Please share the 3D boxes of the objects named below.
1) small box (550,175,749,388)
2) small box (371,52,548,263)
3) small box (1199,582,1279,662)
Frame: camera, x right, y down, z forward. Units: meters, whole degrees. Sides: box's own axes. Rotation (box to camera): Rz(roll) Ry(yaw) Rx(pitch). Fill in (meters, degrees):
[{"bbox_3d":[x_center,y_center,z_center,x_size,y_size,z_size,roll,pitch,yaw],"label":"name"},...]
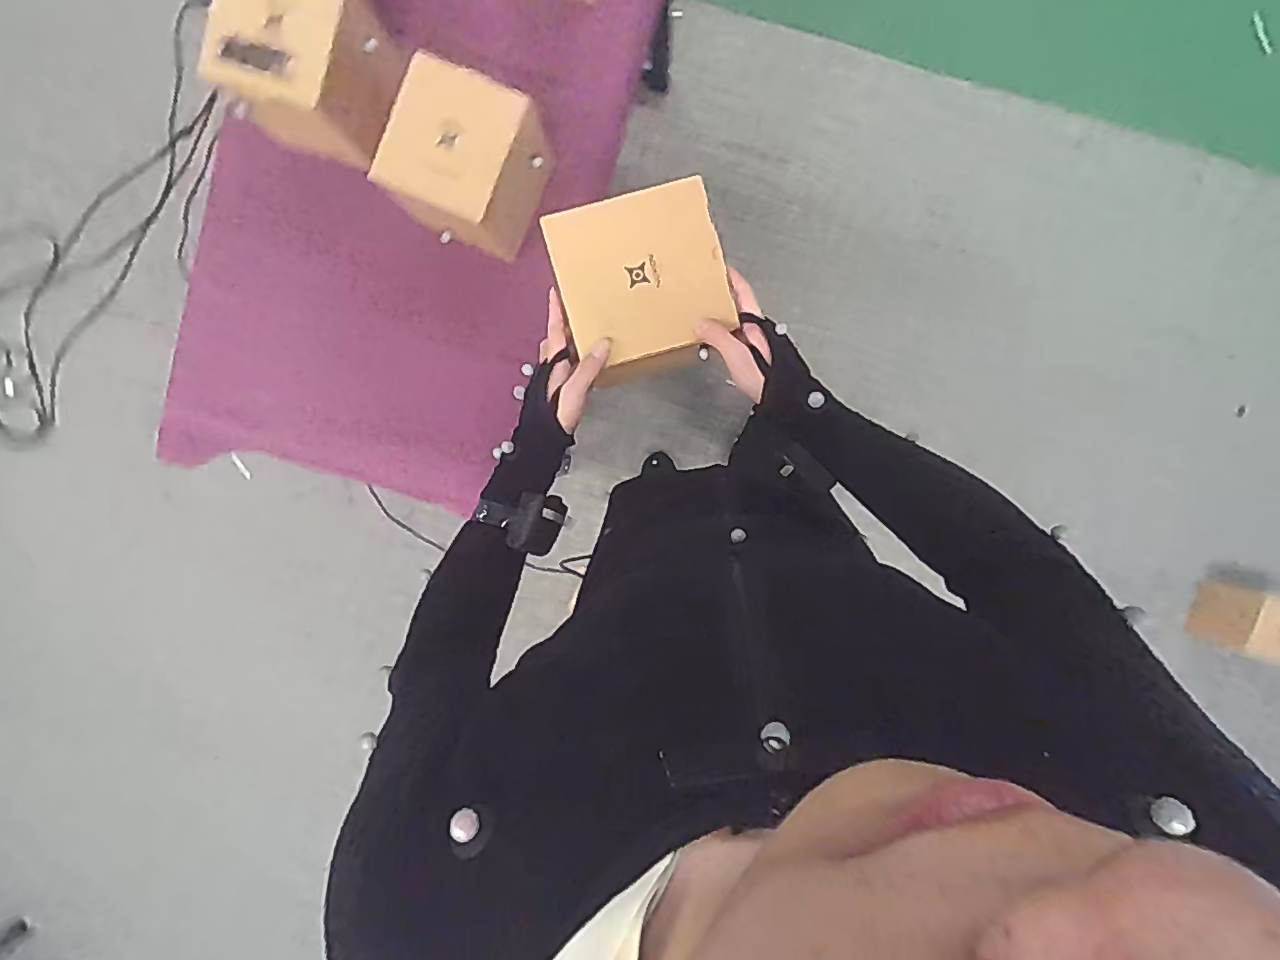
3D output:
[{"bbox_3d":[0.008,-0.214,0.632,0.179,0.176,0.168,-15,92,-2],"label":"small box"},{"bbox_3d":[-0.247,-0.452,0.788,0.168,0.176,0.179,24,95,1],"label":"small box"},{"bbox_3d":[1.745,0.402,1.515,0.168,0.176,0.179,16,94,1],"label":"small box"}]
